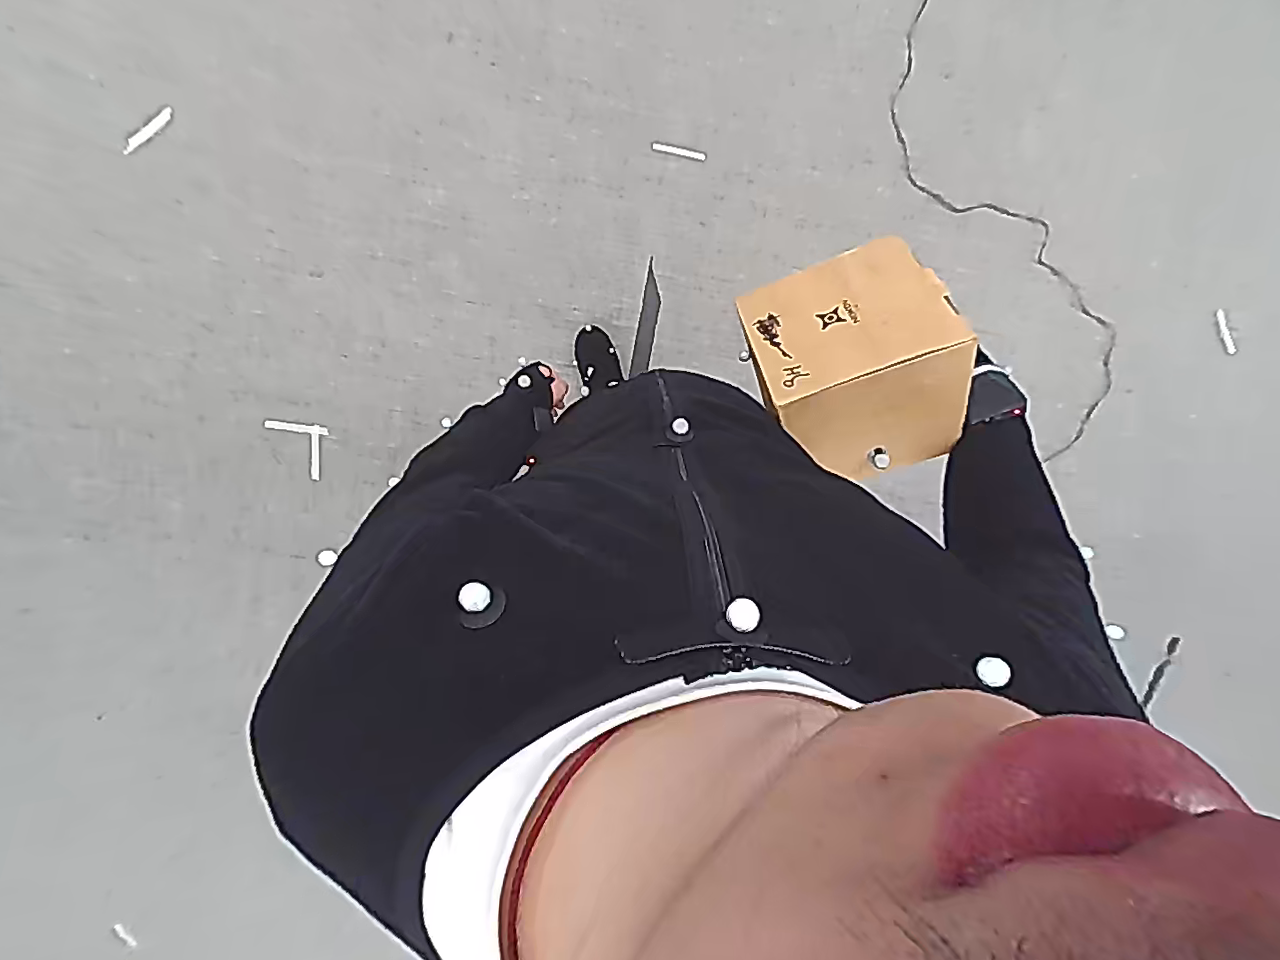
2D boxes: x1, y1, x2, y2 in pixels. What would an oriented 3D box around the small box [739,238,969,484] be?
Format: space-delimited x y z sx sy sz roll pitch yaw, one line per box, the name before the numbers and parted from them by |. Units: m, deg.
small box | 0.226 -0.122 0.598 0.179 0.168 0.176 -19 142 12
